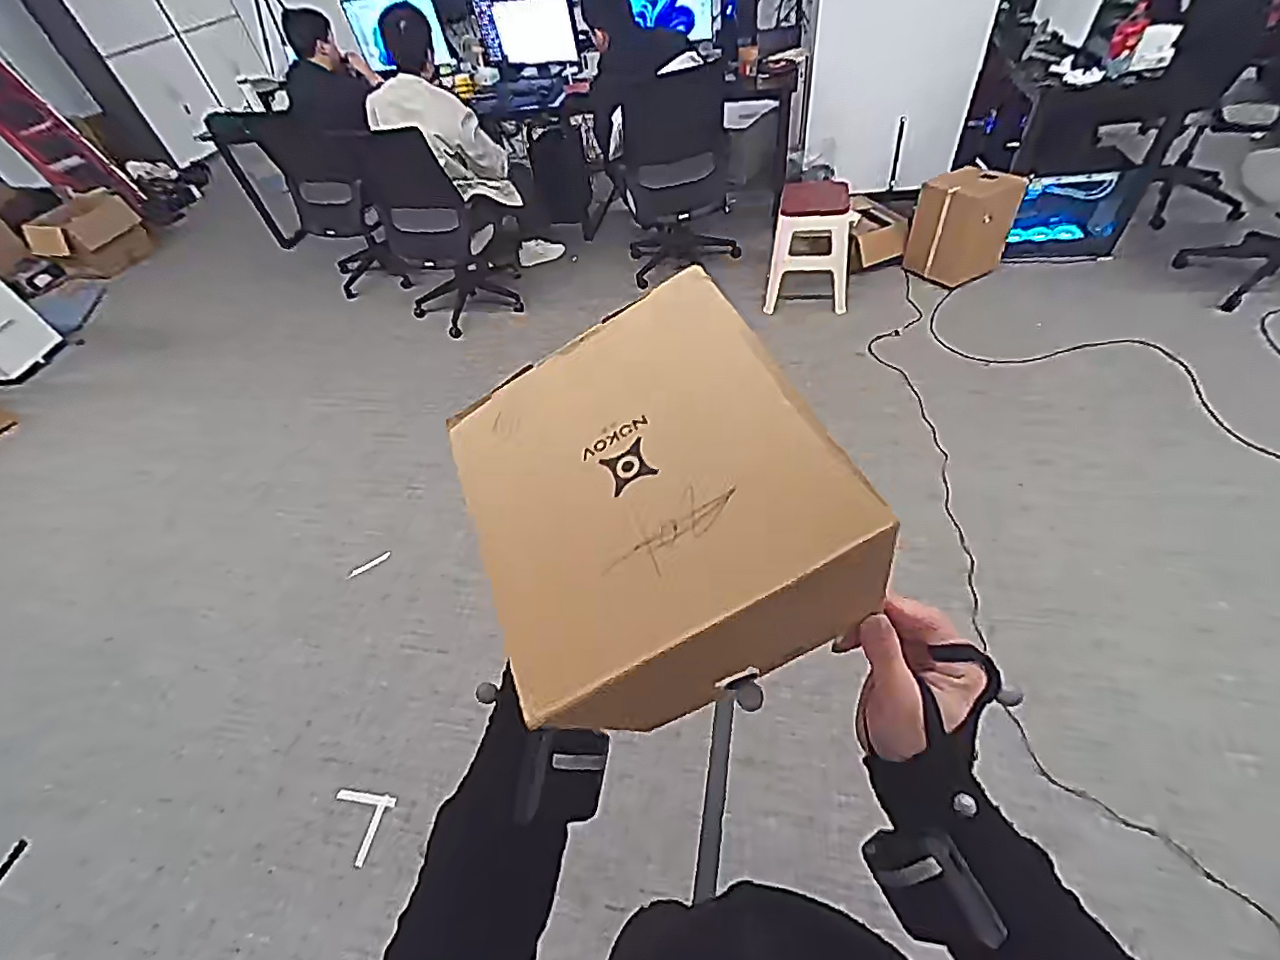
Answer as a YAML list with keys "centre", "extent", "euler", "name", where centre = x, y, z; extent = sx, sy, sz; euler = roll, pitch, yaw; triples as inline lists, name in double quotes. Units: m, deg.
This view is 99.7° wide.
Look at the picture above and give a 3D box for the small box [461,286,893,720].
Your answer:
- centre: [0.024, 0.029, 0.330]
  extent: [0.168, 0.176, 0.179]
  euler: [-31, 60, 7]
  name: "small box"
